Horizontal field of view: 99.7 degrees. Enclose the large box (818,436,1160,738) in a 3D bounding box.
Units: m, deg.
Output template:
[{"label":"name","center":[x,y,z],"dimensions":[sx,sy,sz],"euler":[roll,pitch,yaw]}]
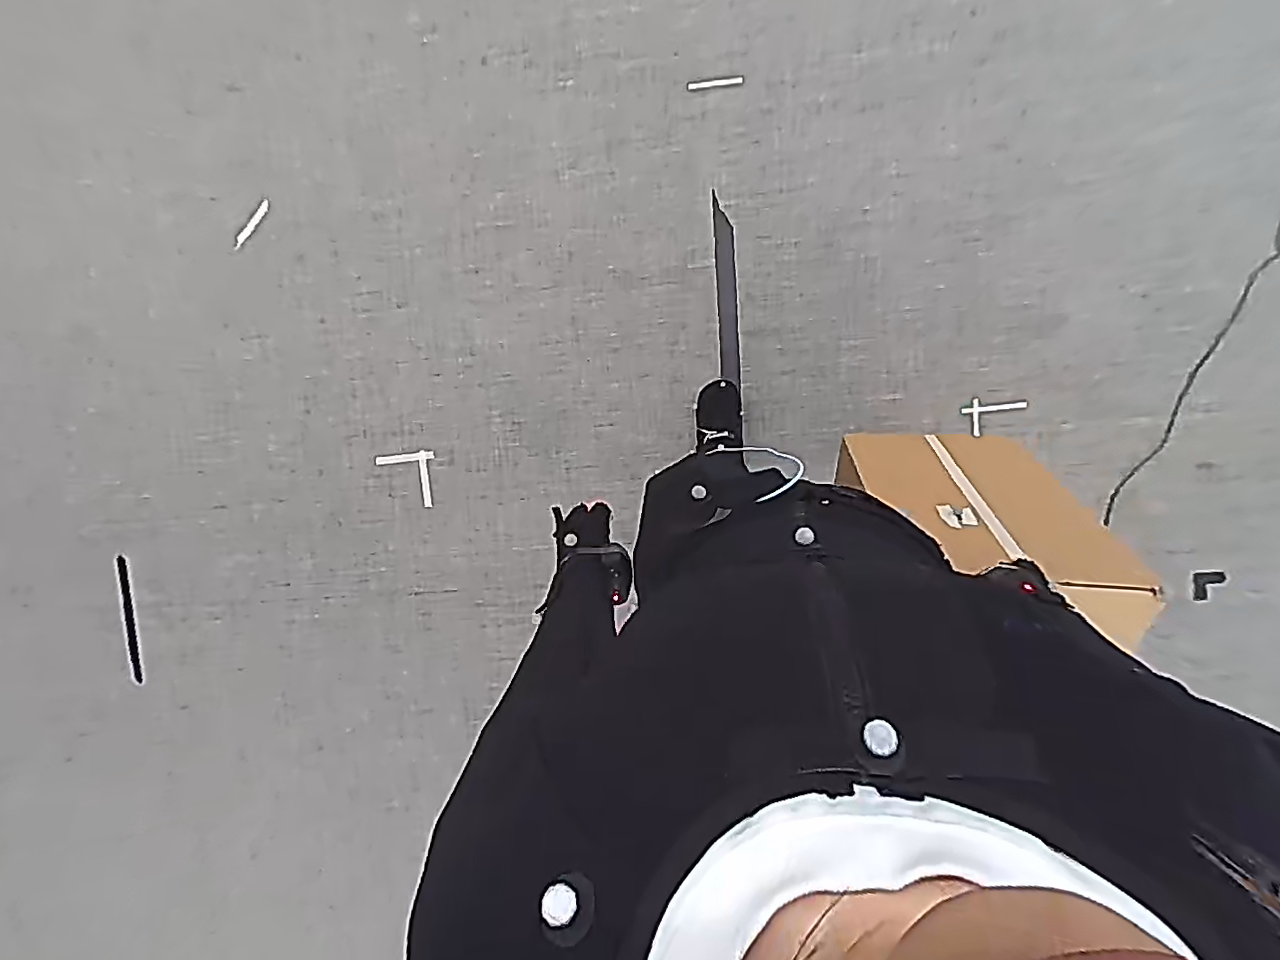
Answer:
[{"label":"large box","center":[0.515,0.158,0.926],"dimensions":[0.320,0.408,0.320],"euler":[2,123,7]}]
